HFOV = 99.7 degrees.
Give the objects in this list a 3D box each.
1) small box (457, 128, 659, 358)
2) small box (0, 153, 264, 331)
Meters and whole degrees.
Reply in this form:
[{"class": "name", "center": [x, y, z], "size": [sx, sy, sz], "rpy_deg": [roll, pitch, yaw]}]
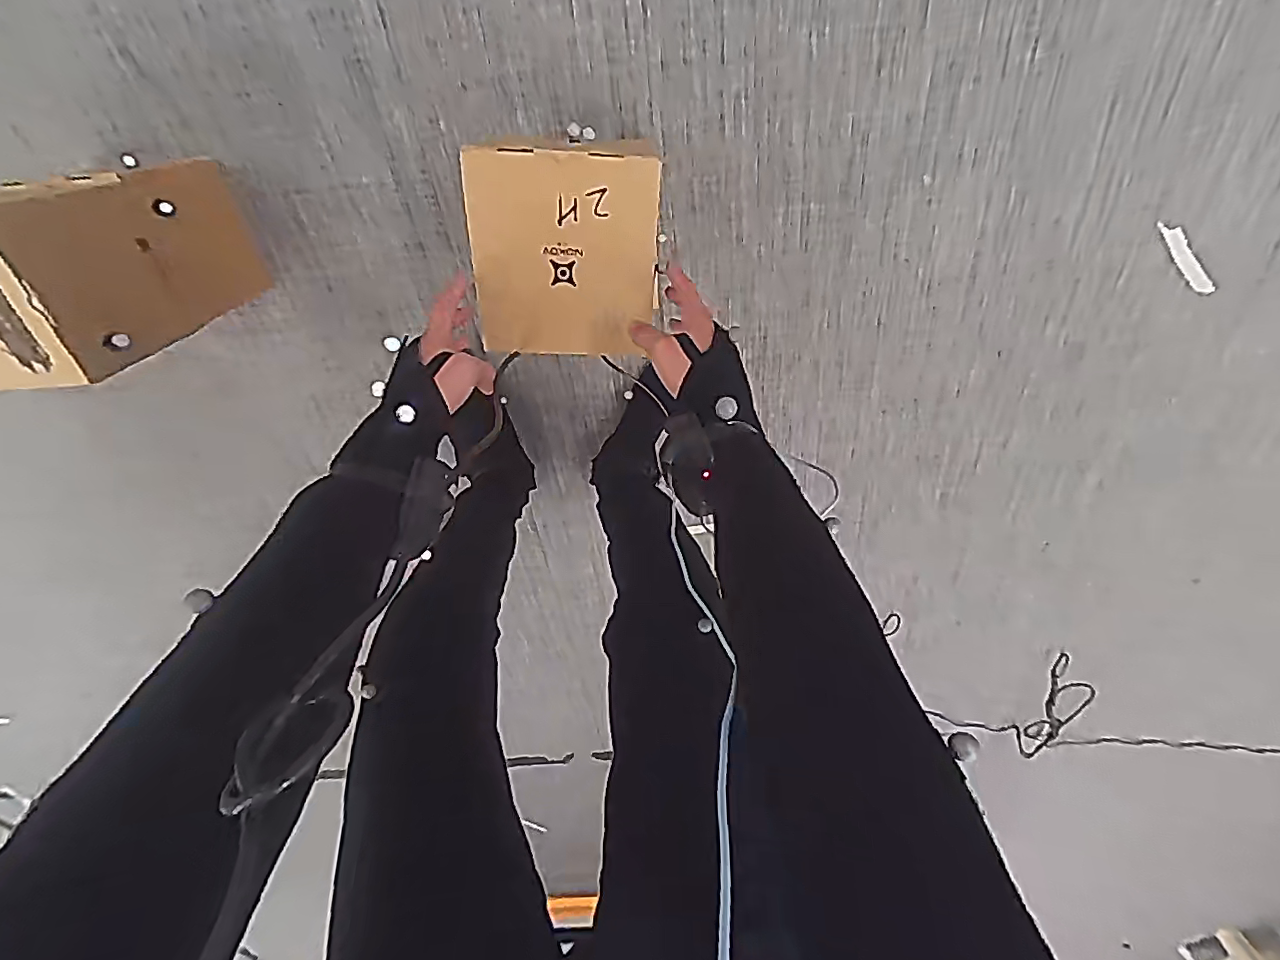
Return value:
[{"class": "small box", "center": [-0.071, -0.242, 0.547], "size": [0.168, 0.176, 0.179], "rpy_deg": [2, 125, -3]}, {"class": "small box", "center": [-0.639, -0.309, 0.698], "size": [0.168, 0.176, 0.179], "rpy_deg": [-3, 125, 3]}]
